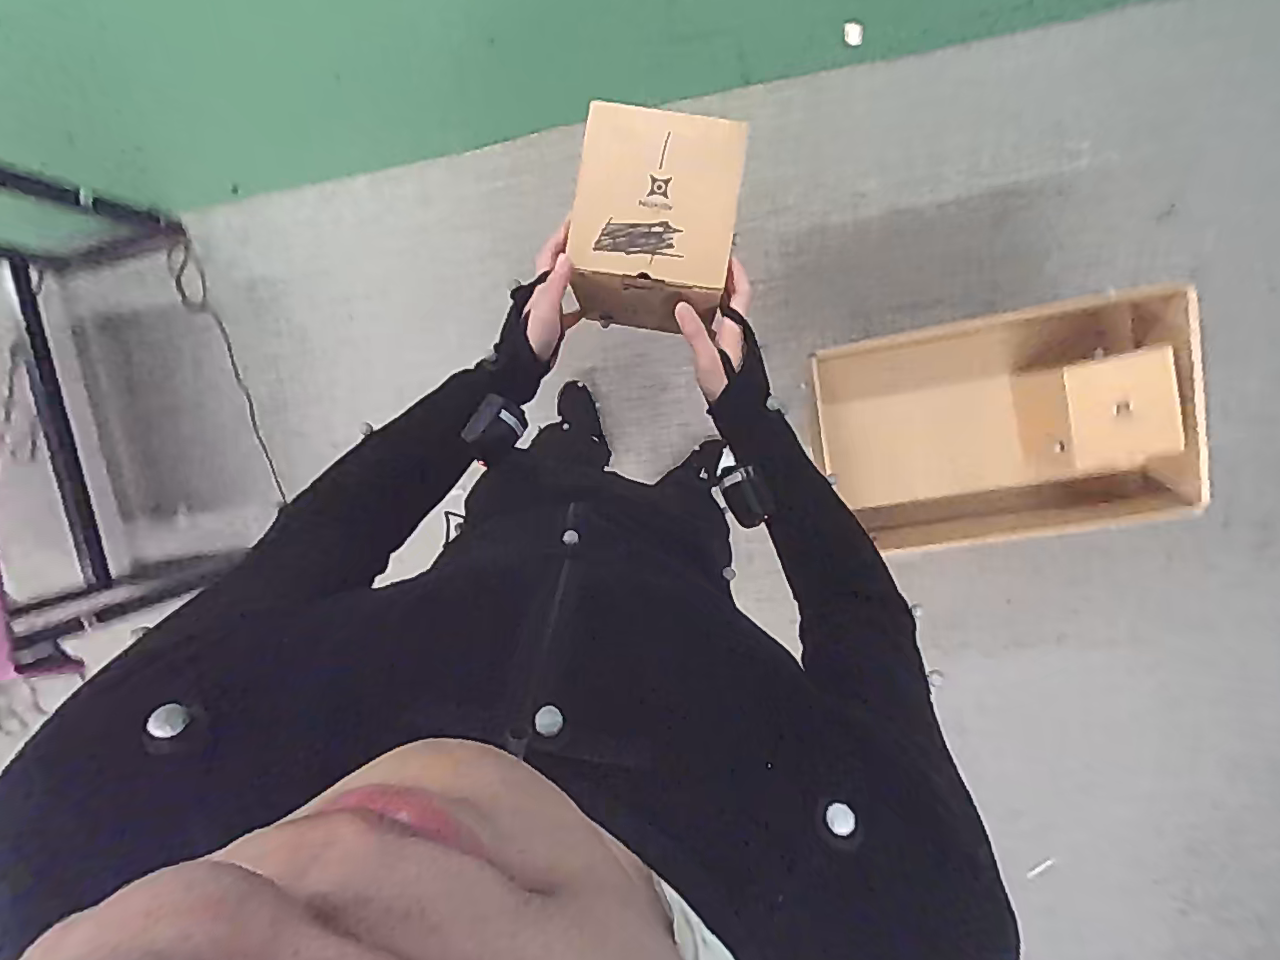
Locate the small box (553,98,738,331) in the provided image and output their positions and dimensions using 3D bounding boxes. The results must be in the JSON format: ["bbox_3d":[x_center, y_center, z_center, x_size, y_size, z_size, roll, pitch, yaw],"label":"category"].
[{"bbox_3d":[0.008,-0.284,0.617,0.168,0.176,0.179,8,89,2],"label":"small box"}]

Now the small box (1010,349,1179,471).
[{"bbox_3d":[0.804,-0.124,0.976,0.168,0.176,0.179,-12,97,9],"label":"small box"}]
